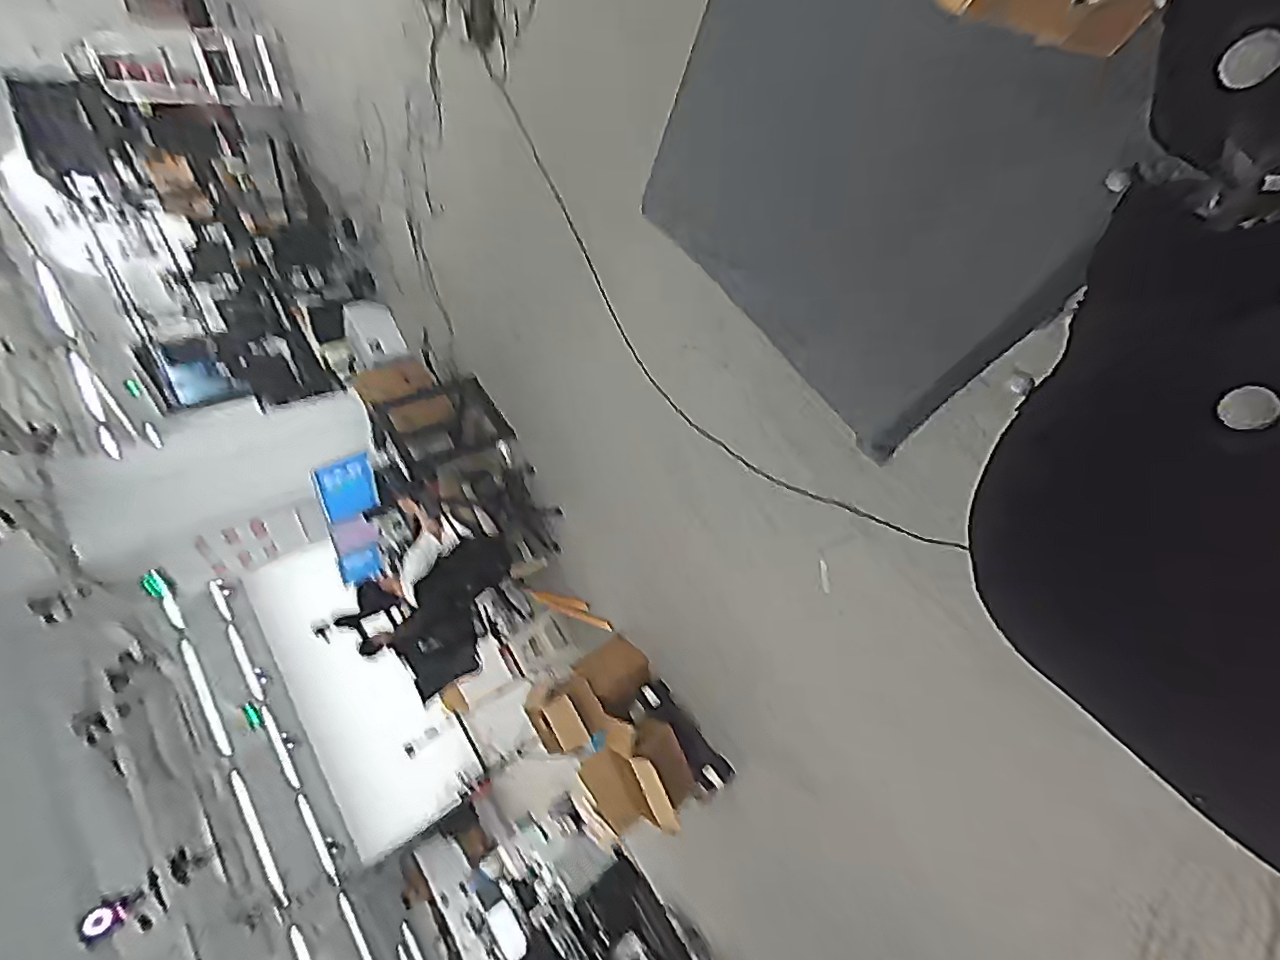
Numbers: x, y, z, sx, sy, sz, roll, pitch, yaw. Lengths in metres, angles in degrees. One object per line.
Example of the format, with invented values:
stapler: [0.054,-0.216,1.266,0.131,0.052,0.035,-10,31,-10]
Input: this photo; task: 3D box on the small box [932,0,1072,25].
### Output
small box: [0.227,-0.410,0.323,0.179,0.176,0.168,53,146,18]

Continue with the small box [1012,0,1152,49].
small box: [0.352,-0.472,0.410,0.168,0.176,0.179,56,148,16]
